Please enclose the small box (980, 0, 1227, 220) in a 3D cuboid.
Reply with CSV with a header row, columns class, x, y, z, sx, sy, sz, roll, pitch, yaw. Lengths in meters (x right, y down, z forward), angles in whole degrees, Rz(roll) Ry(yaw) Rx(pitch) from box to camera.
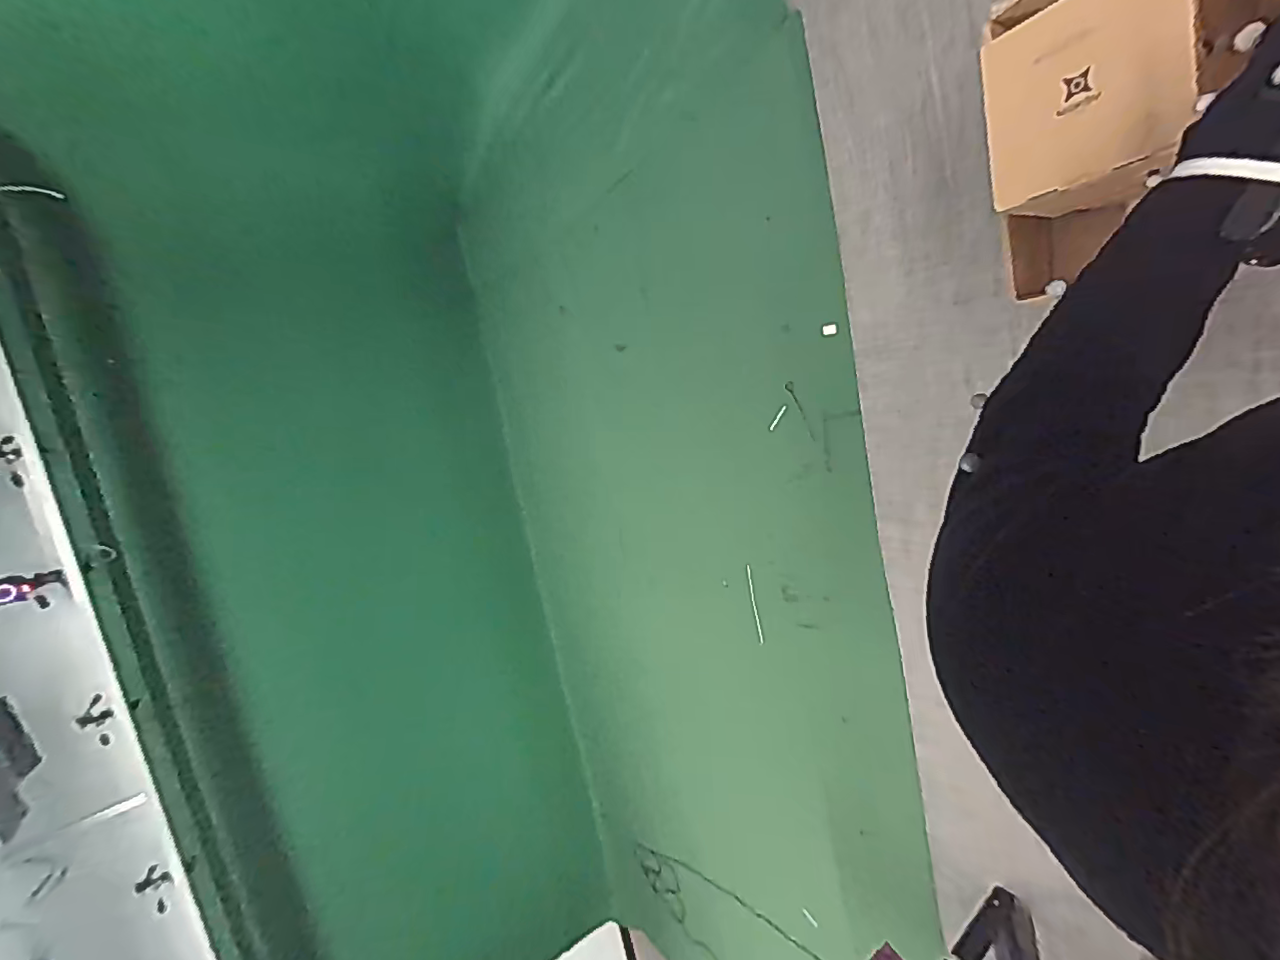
class,x,y,z,sx,sy,sz,roll,pitch,yaw
small box,0.499,-0.399,0.584,0.168,0.176,0.179,2,105,55
